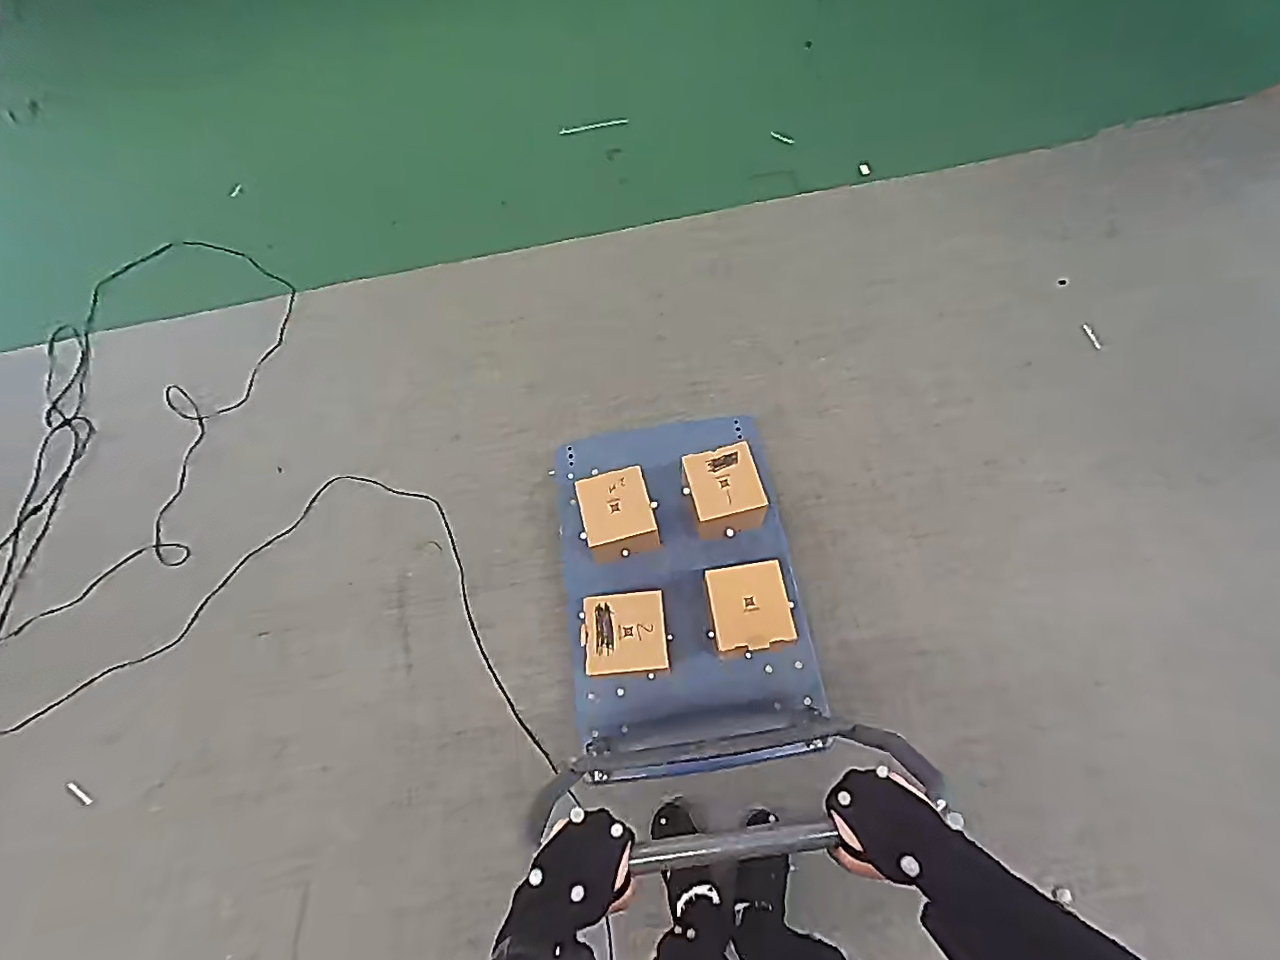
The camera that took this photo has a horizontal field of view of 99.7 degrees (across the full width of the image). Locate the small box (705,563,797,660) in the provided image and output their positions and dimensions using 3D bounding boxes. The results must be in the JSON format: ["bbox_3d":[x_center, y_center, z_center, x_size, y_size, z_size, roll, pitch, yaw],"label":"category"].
[{"bbox_3d":[0.245,0.306,1.240,0.168,0.176,0.179,-9,66,1],"label":"small box"}]

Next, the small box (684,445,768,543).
[{"bbox_3d":[0.208,0.040,1.361,0.168,0.176,0.179,-14,66,-1],"label":"small box"}]

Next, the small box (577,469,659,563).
[{"bbox_3d":[-0.052,0.098,1.356,0.168,0.176,0.179,-14,65,-2],"label":"small box"}]
